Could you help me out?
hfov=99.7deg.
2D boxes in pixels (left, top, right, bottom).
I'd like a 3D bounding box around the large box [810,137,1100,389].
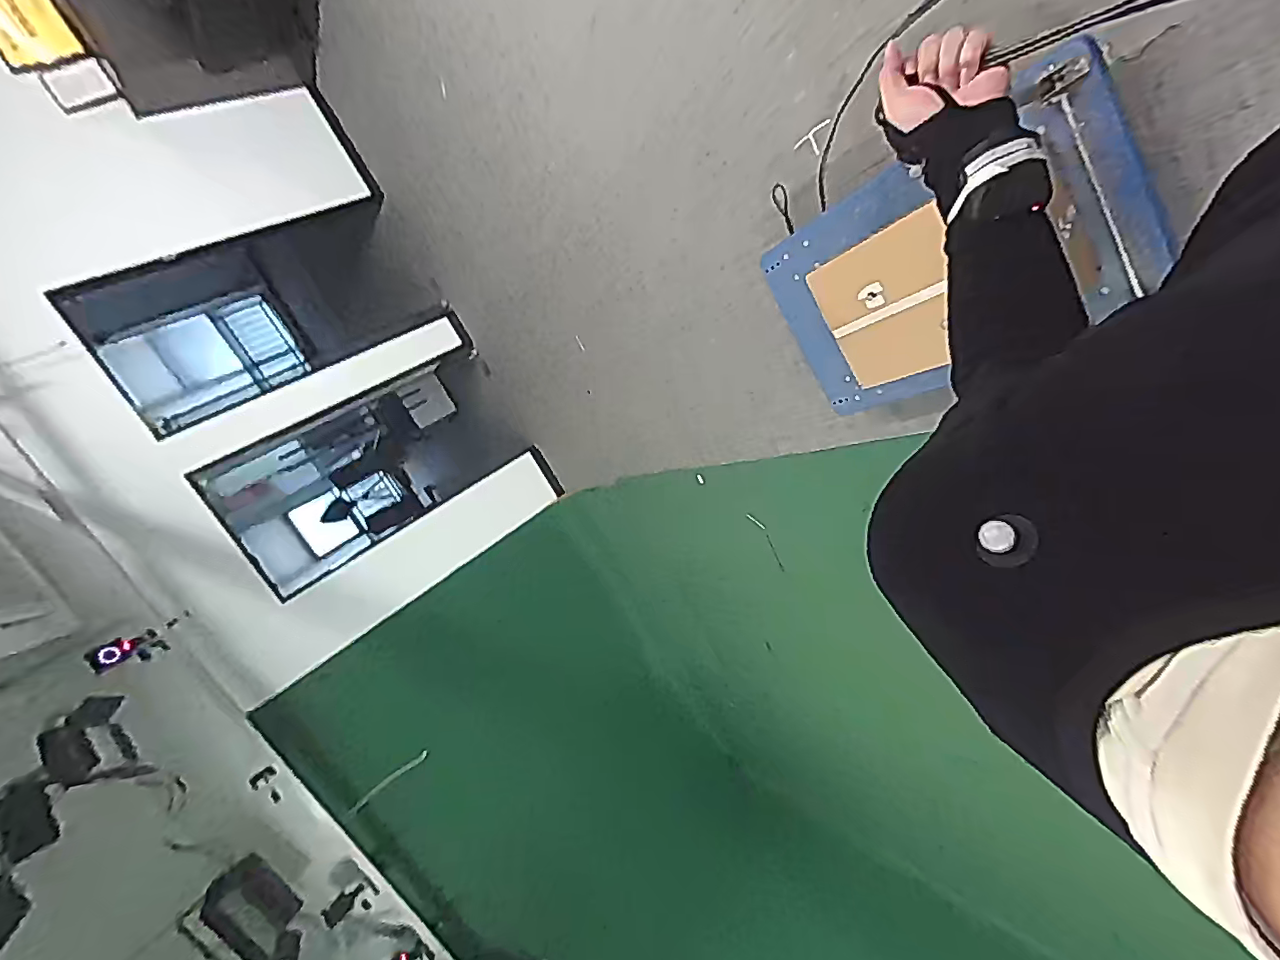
[{"bbox_3d":[0.673,-0.452,1.189,0.320,0.320,0.408,60,152,-9],"label":"large box"}]
